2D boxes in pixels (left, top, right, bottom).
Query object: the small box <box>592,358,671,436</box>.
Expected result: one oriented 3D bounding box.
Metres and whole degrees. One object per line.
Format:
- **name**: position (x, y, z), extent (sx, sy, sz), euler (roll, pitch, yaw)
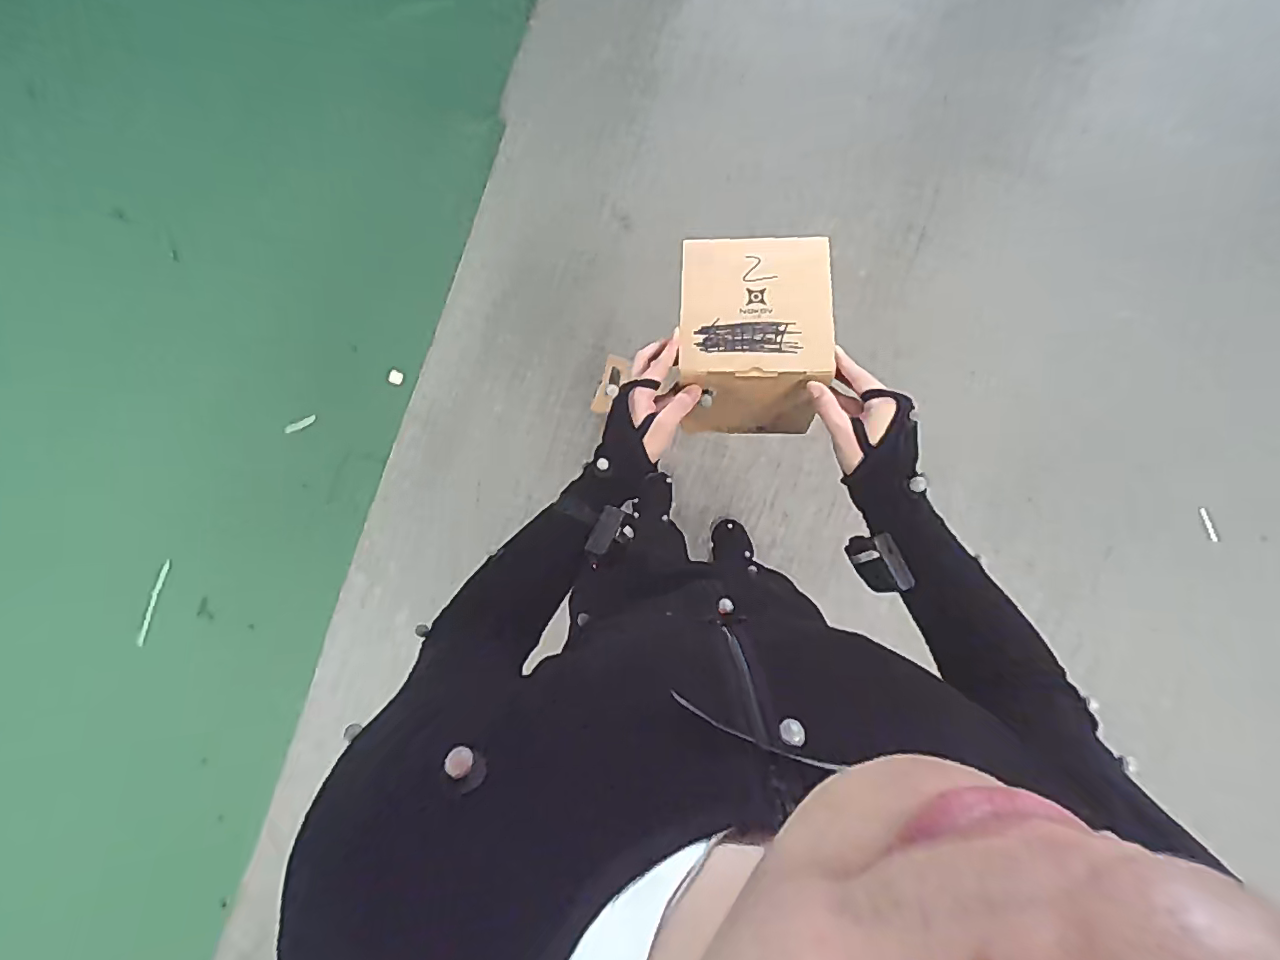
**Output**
- **small box**: position (-0.018, -0.235, 1.576), extent (0.179, 0.176, 0.168), euler (19, 91, 7)
